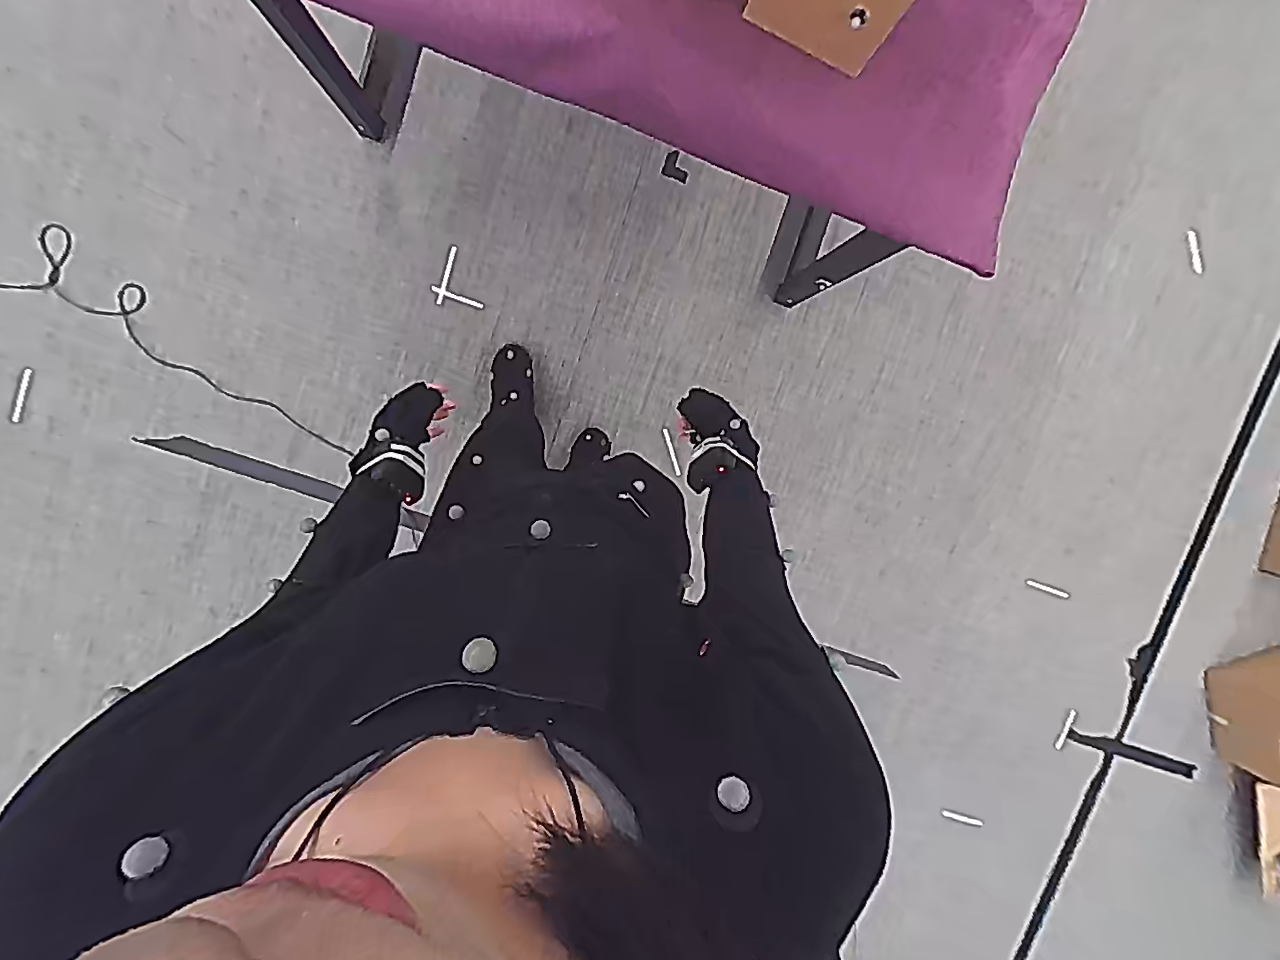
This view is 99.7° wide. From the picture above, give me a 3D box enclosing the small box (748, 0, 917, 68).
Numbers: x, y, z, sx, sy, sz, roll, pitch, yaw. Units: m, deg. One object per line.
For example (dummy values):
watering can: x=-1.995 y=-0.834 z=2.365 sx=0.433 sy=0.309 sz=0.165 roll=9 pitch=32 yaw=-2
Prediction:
small box: x=0.254 y=-0.644 z=0.640 sx=0.179 sy=0.176 sz=0.168 roll=22 pitch=92 yaw=-6
